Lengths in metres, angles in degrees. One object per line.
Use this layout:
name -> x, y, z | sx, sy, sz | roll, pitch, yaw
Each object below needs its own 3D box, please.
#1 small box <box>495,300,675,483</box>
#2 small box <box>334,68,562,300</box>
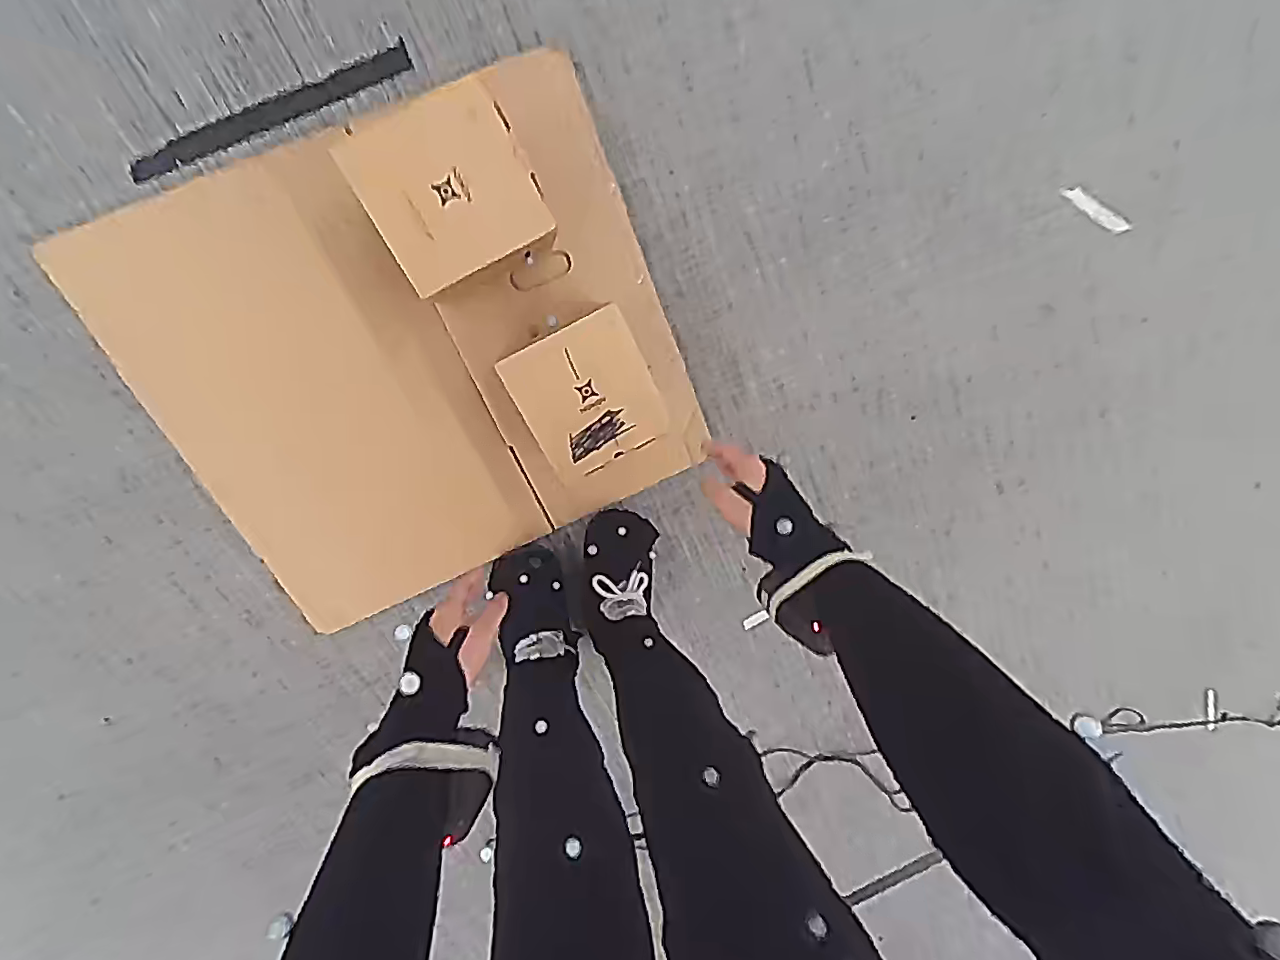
small box -> -0.075, -0.127, 0.730 | 0.168, 0.176, 0.179 | -28, 110, -2
small box -> -0.212, -0.330, 0.642 | 0.179, 0.176, 0.168 | -30, 109, -1
